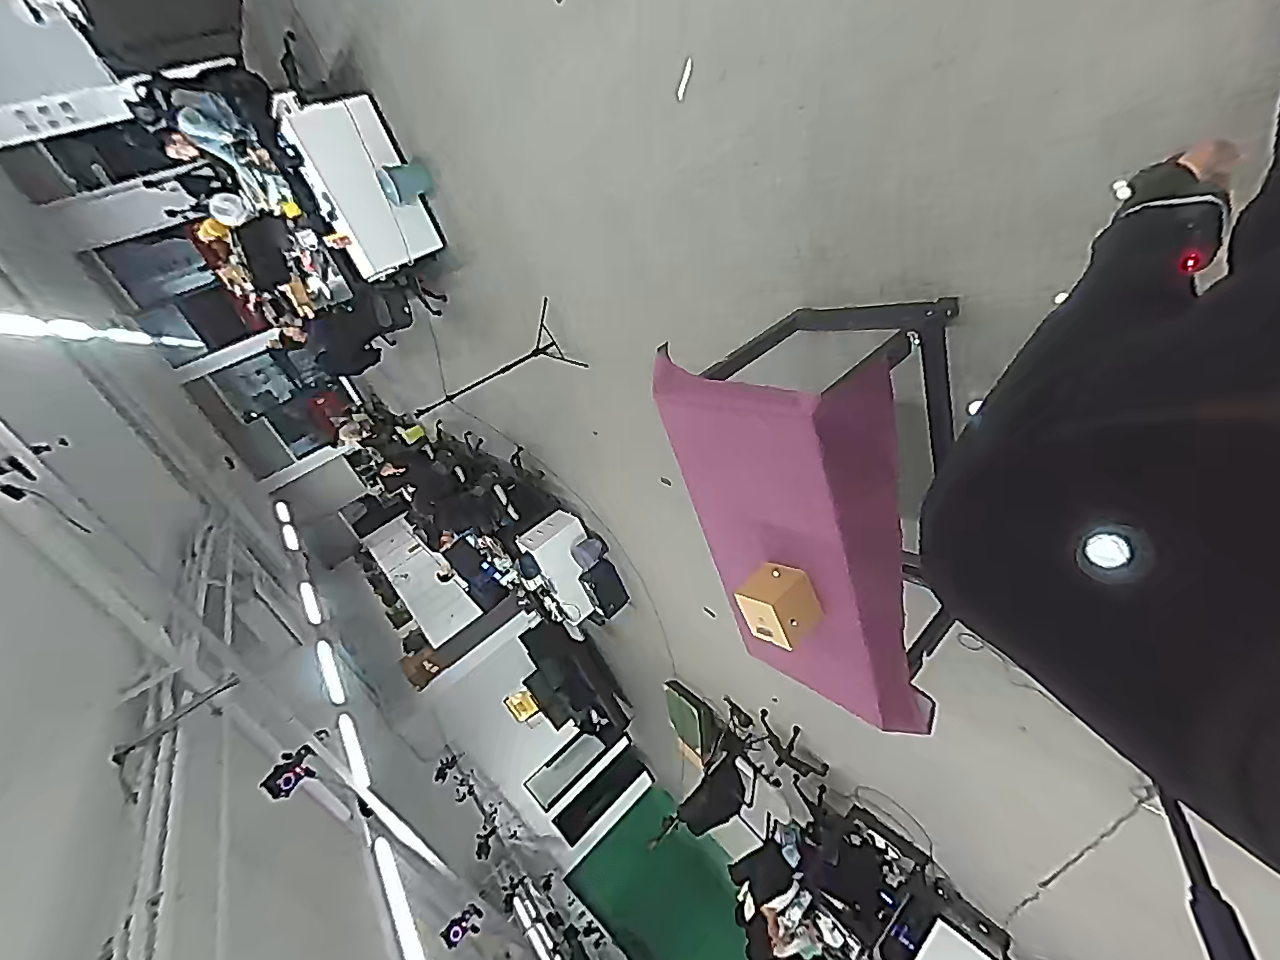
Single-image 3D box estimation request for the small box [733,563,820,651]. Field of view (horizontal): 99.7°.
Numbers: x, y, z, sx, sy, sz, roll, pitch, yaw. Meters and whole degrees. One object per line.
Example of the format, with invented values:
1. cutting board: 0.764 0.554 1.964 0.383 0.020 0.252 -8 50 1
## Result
1. small box: 0.426 0.385 1.668 0.168 0.176 0.179 4 126 58
